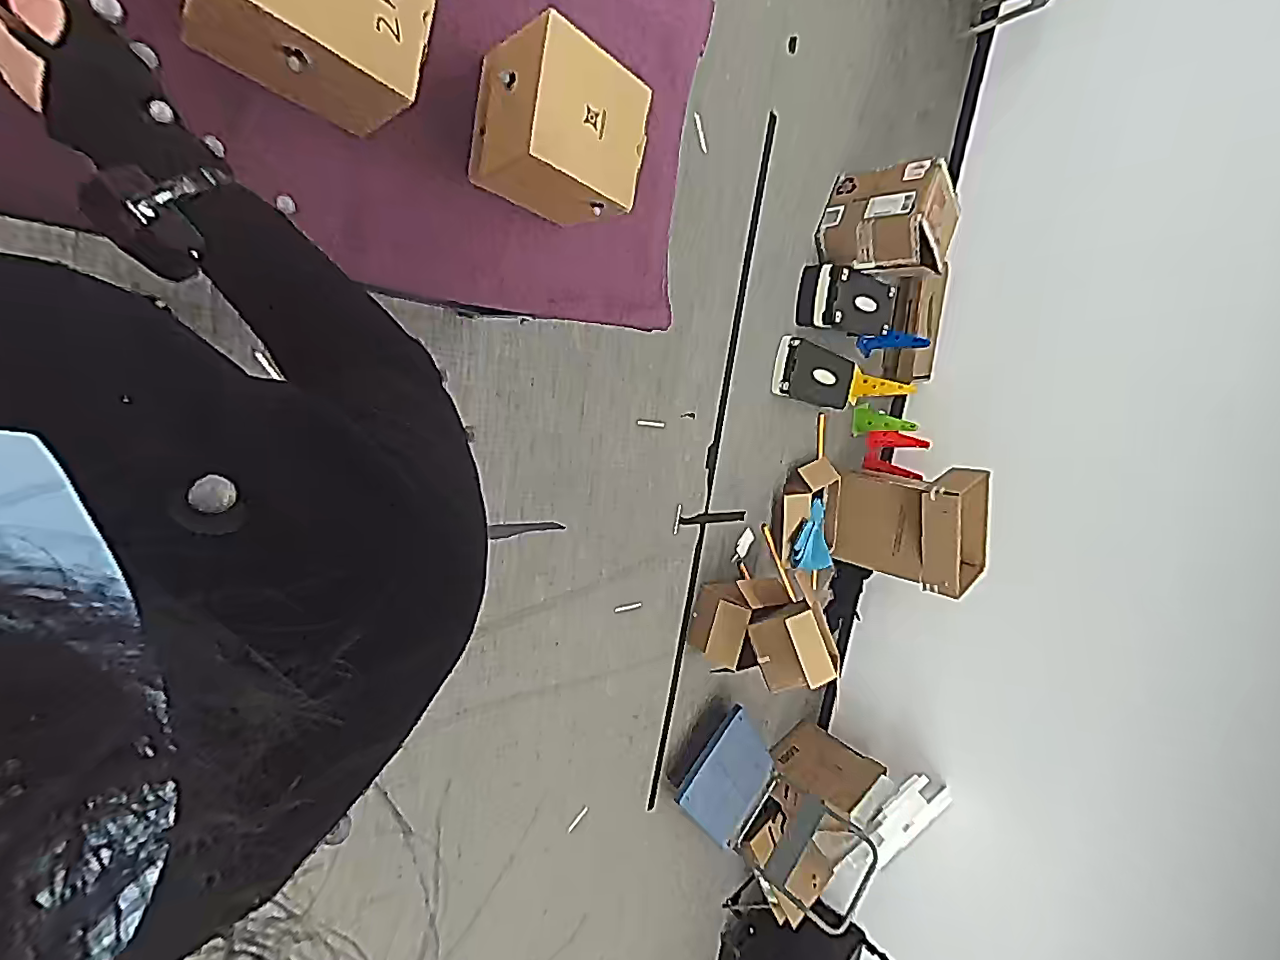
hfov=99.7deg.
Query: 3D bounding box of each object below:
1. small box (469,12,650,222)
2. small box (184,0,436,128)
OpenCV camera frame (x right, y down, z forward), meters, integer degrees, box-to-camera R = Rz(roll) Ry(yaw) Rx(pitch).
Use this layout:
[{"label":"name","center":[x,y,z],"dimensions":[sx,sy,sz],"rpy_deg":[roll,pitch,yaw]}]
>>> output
[{"label":"small box","center":[-0.116,-0.479,0.753],"dimensions":[0.179,0.176,0.168],"rpy_deg":[4,99,-46]},{"label":"small box","center":[-0.325,-0.489,0.538],"dimensions":[0.179,0.176,0.168],"rpy_deg":[10,96,-47]}]
